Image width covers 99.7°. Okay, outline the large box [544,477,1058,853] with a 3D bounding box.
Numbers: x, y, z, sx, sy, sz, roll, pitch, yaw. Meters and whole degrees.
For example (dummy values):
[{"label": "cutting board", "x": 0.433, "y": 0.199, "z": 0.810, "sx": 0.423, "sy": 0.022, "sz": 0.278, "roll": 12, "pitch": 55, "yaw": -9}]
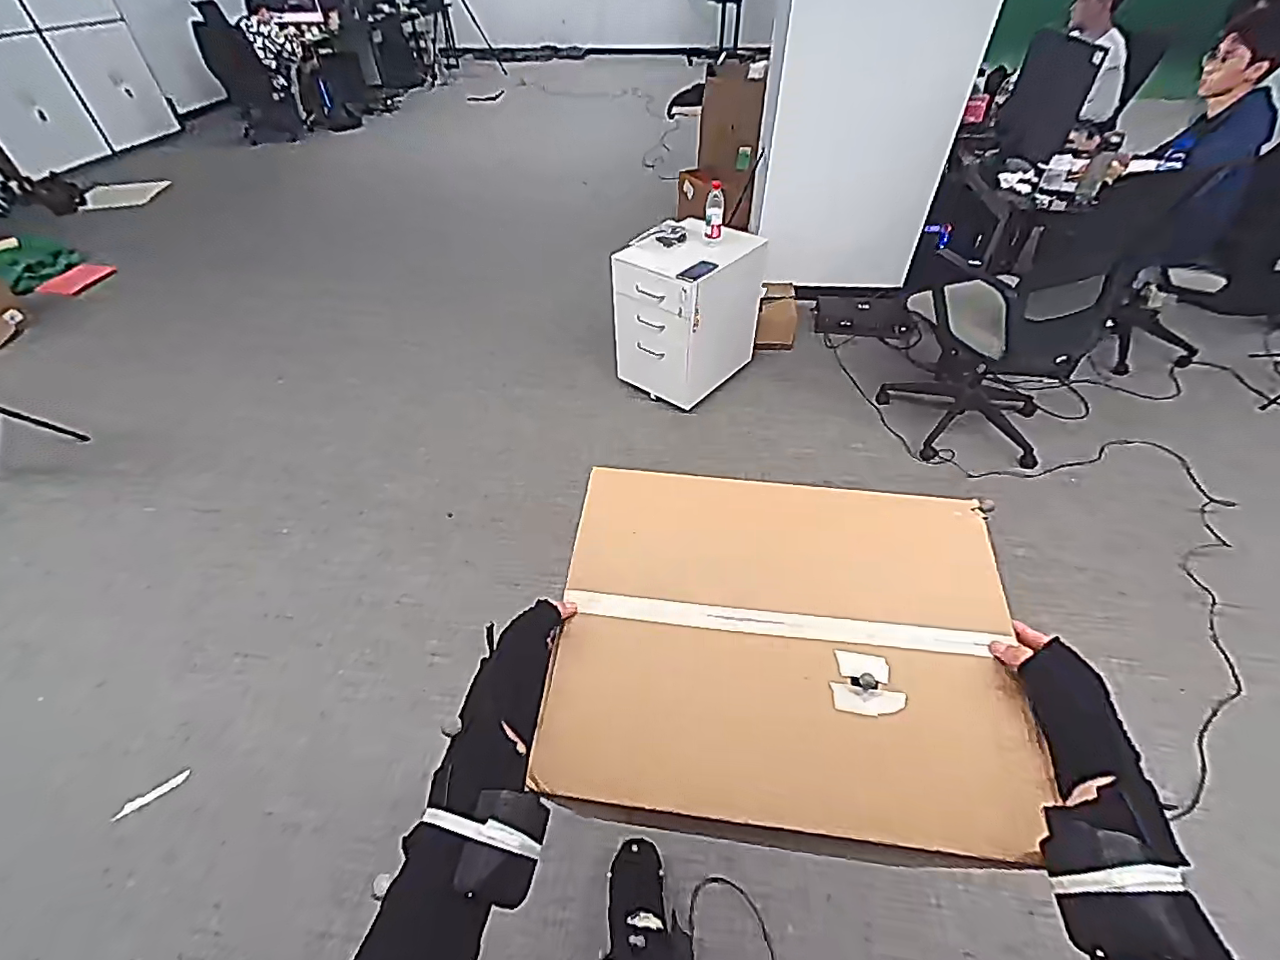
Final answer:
[{"label": "large box", "x": 0.134, "y": 0.221, "z": 0.622, "sx": 0.408, "sy": 0.320, "sz": 0.320, "roll": 5, "pitch": 57, "yaw": 5}]
